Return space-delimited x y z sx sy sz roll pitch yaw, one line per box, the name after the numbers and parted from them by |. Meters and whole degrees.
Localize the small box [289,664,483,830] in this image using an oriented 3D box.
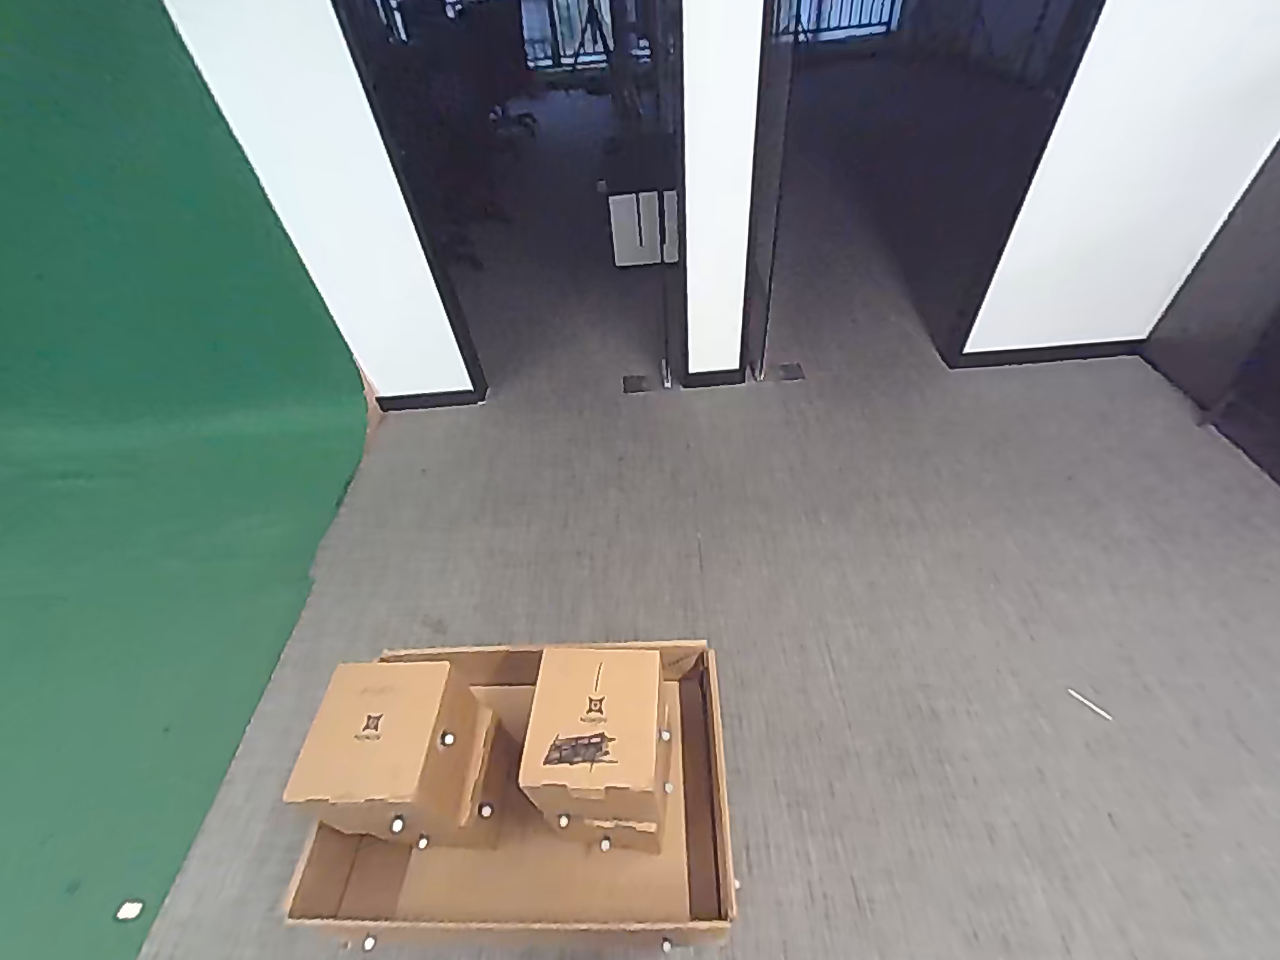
-0.337 0.380 0.765 0.168 0.176 0.179 -2 45 4 | small box

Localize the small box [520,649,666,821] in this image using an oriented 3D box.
-0.051 0.355 0.752 0.168 0.176 0.179 -1 45 6 | small box
